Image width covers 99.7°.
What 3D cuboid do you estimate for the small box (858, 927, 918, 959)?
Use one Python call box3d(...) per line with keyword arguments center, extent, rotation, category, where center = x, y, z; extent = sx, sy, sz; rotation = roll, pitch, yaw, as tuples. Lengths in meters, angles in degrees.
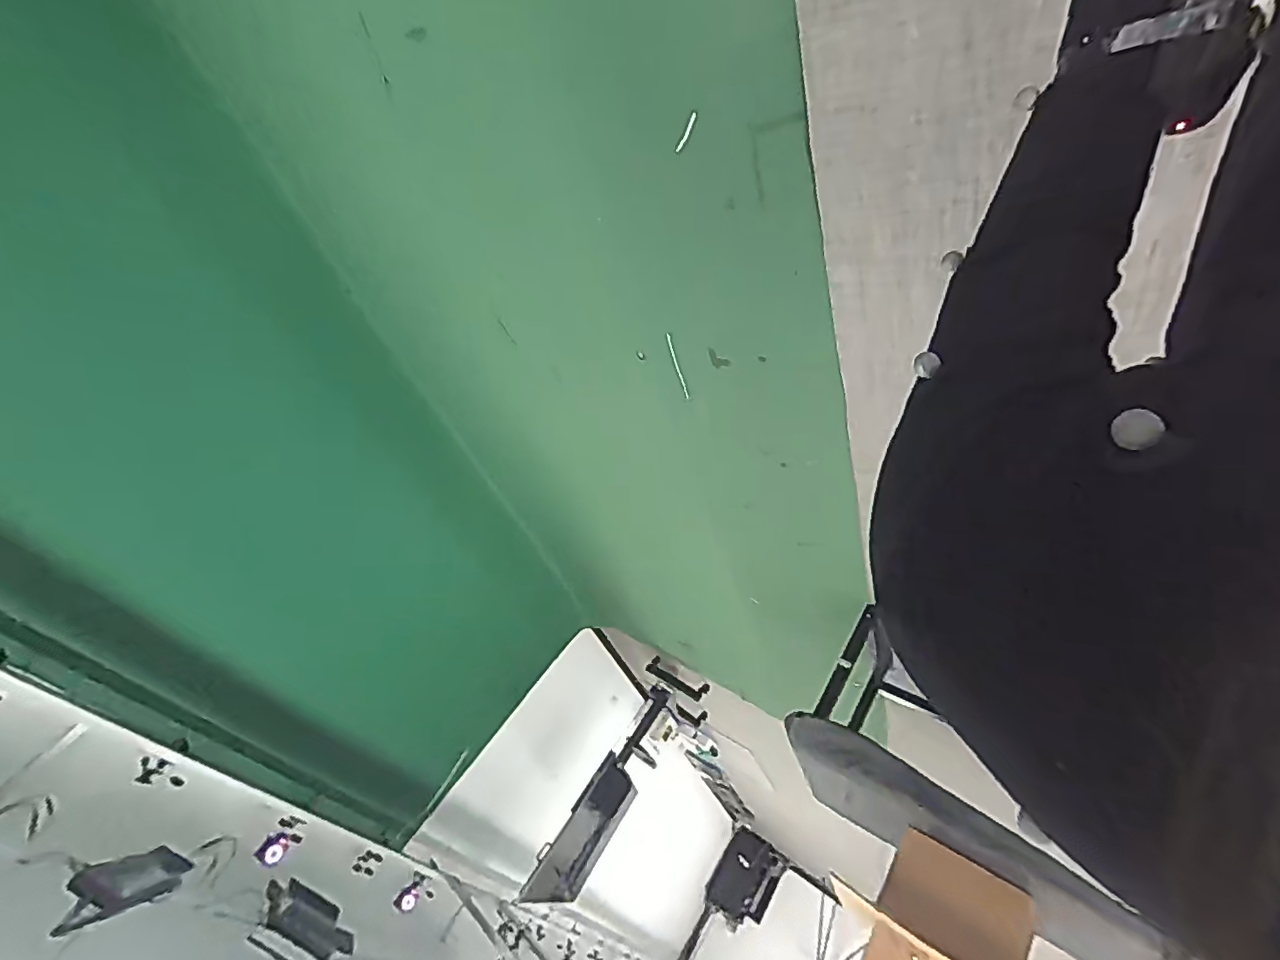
box3d(center=(0.789, 1.567, 1.711), extent=(0.168, 0.176, 0.179), rotation=(17, 143, 42), category="small box")
